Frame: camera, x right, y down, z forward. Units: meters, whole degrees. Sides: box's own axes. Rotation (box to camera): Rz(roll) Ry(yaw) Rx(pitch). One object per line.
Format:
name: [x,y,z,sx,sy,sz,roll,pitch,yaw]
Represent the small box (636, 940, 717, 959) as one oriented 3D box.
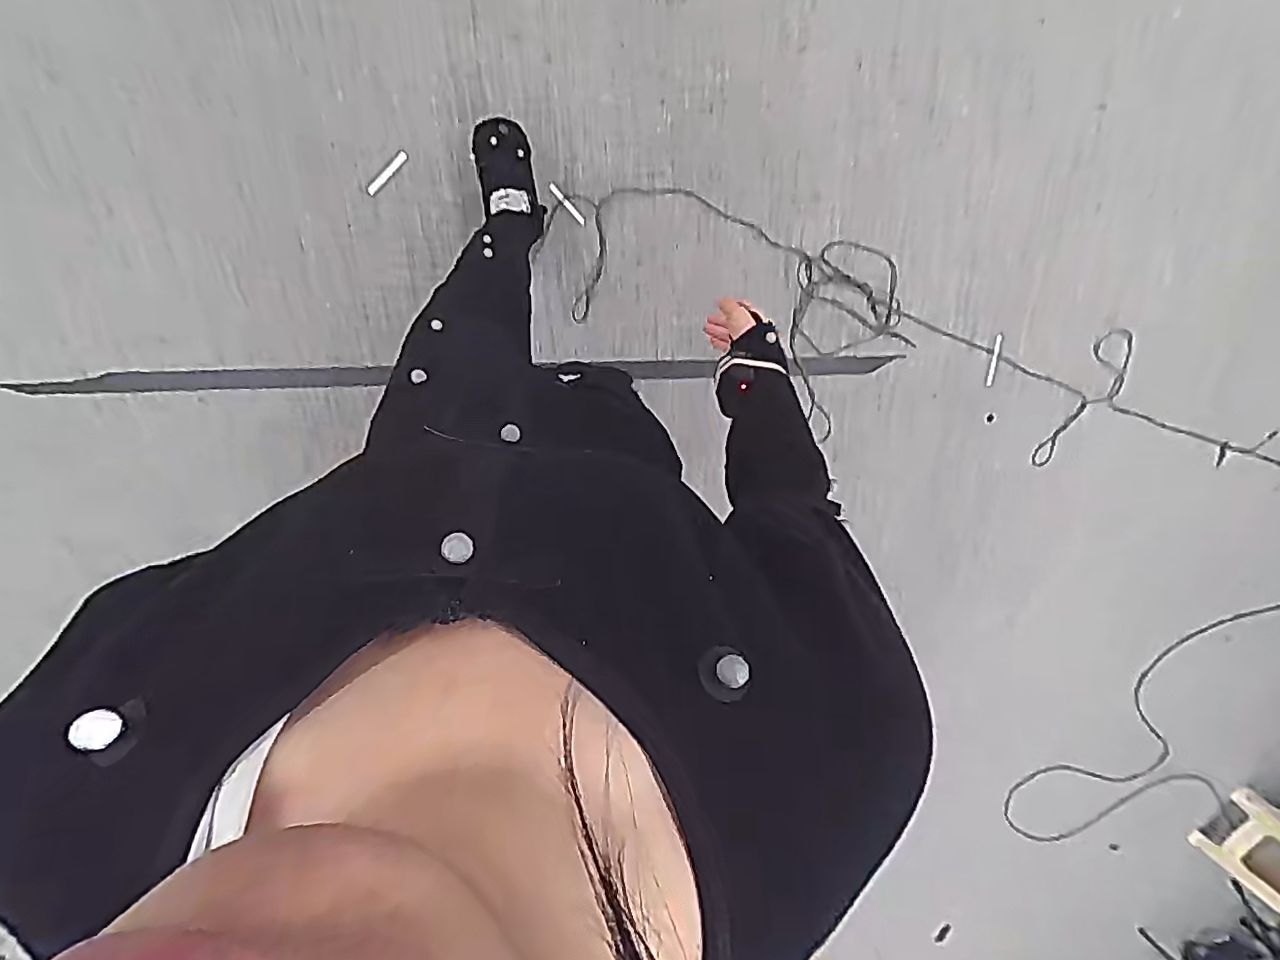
small box: [0.078,1.052,1.060,0.168,0.176,0.179,1,110,-7]
